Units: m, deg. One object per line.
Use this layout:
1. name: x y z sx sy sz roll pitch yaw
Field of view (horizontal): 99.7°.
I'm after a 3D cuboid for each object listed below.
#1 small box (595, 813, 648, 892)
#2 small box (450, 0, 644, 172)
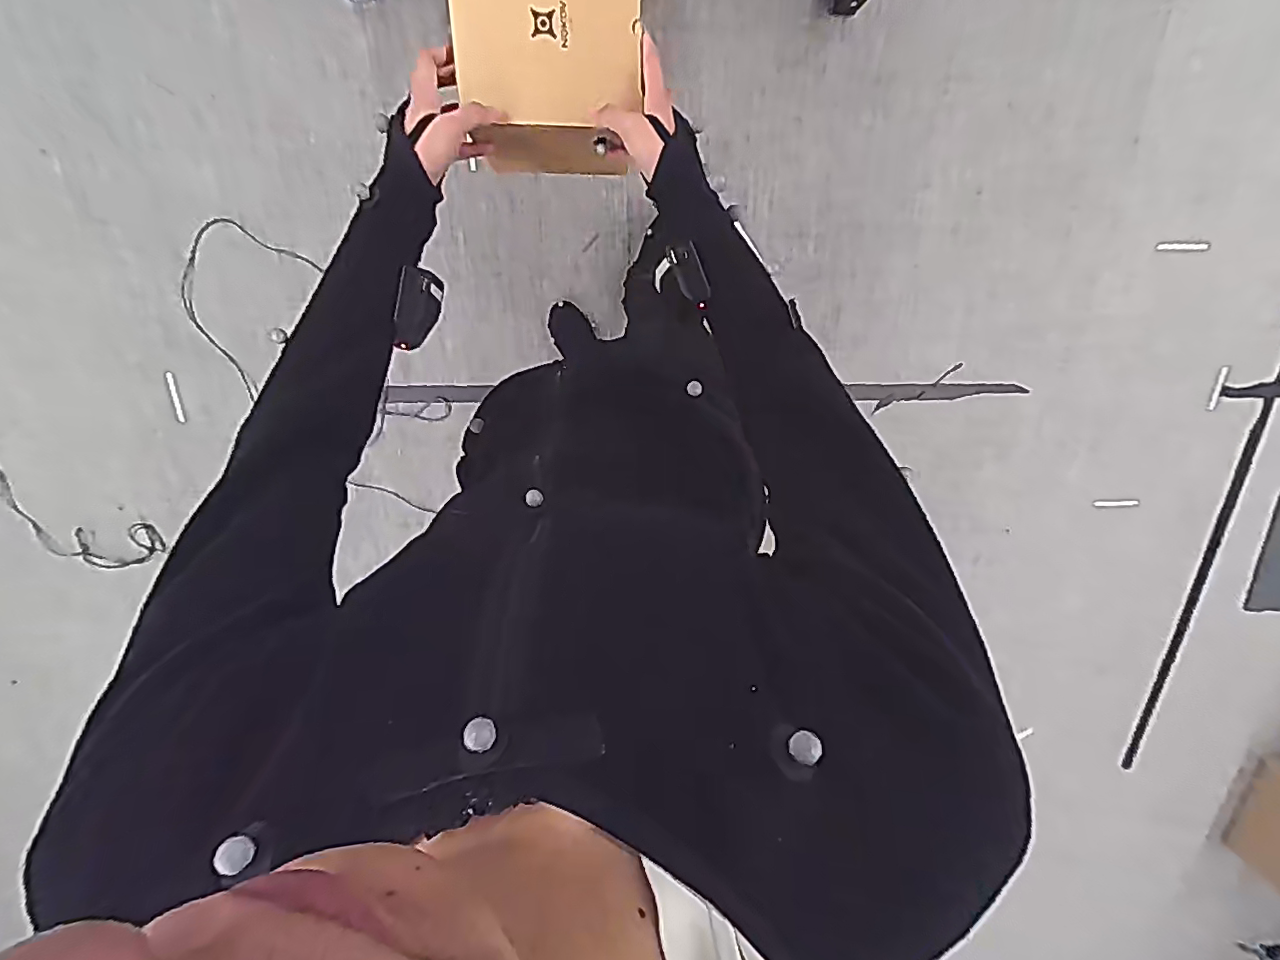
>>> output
1. small box: -0.066 1.301 1.893 0.179 0.176 0.168 0 110 -4
2. small box: -0.093 -0.437 0.568 0.179 0.176 0.168 -3 106 -8
